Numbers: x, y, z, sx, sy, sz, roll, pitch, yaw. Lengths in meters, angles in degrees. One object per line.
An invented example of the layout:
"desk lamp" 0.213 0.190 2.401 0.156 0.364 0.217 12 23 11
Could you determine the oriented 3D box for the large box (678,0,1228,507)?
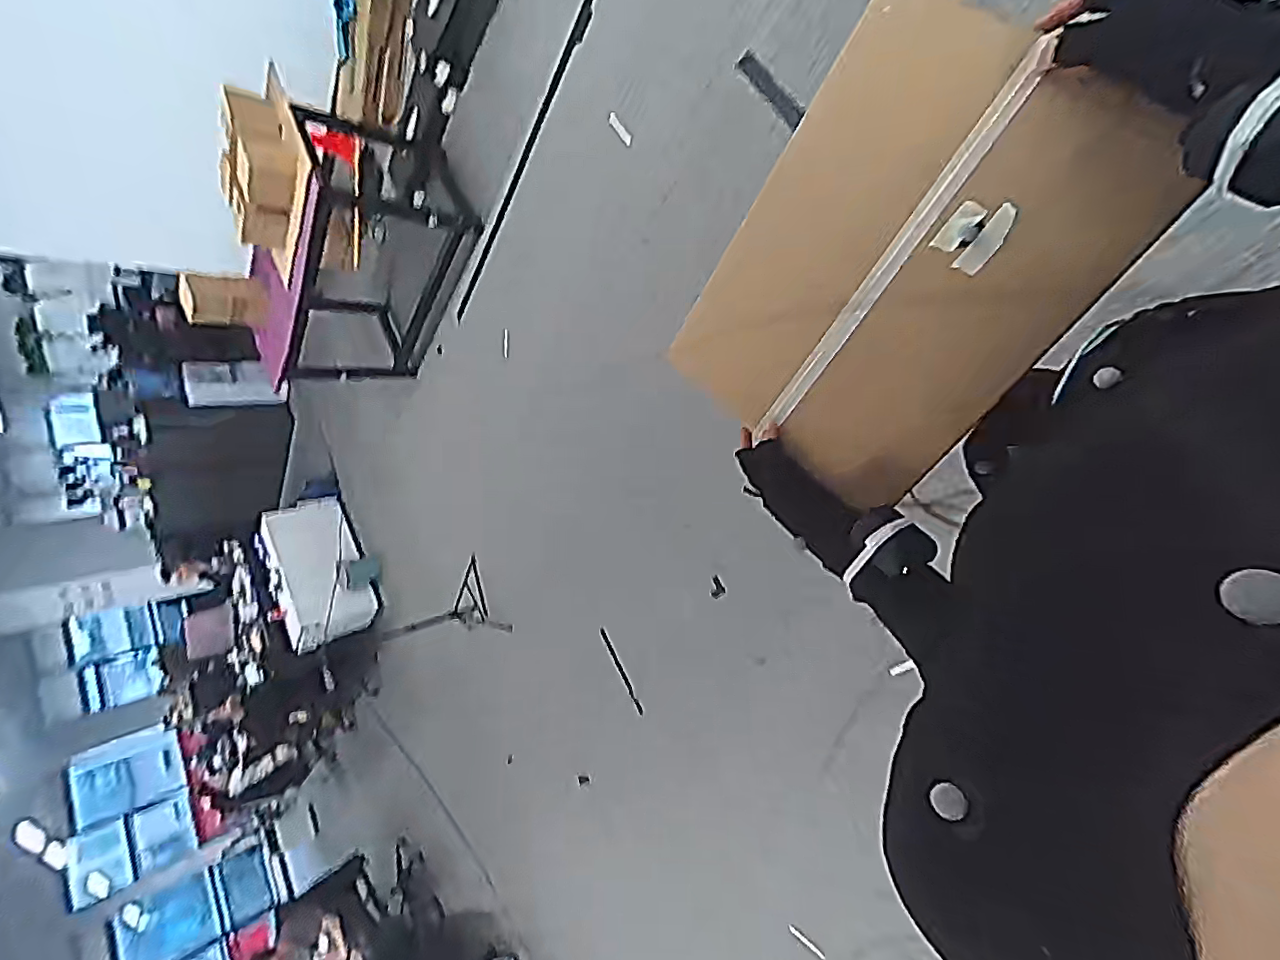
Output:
"large box" 0.321 -0.239 0.662 0.320 0.320 0.408 42 121 17
